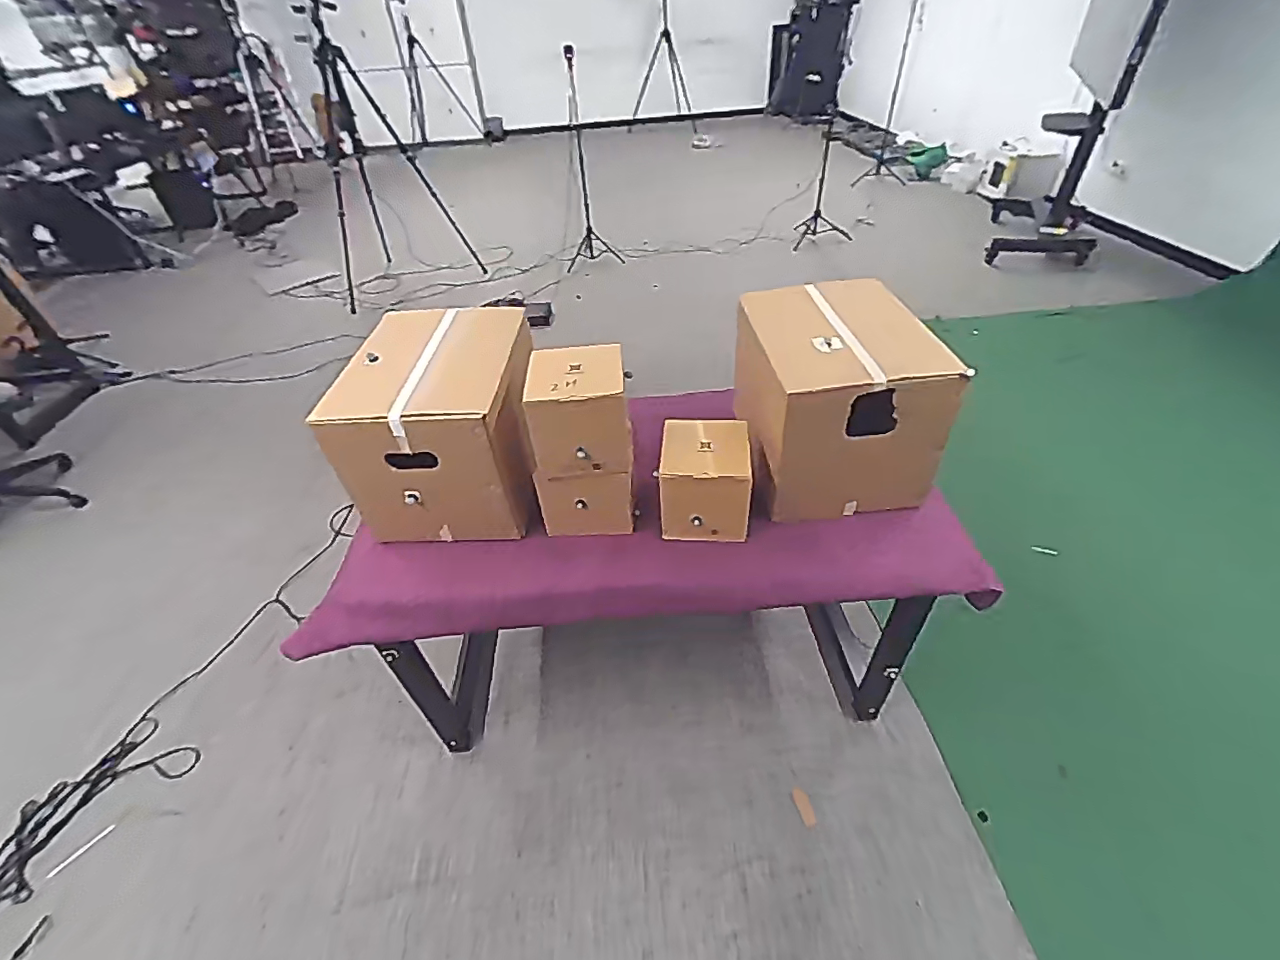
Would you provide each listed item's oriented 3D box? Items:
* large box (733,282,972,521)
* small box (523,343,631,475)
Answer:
[{"bbox_3d":[0.392,-0.174,1.134,0.320,0.320,0.408,-7,42,1],"label":"large box"},{"bbox_3d":[-0.106,-0.130,0.984,0.168,0.176,0.179,-5,42,0],"label":"small box"}]
